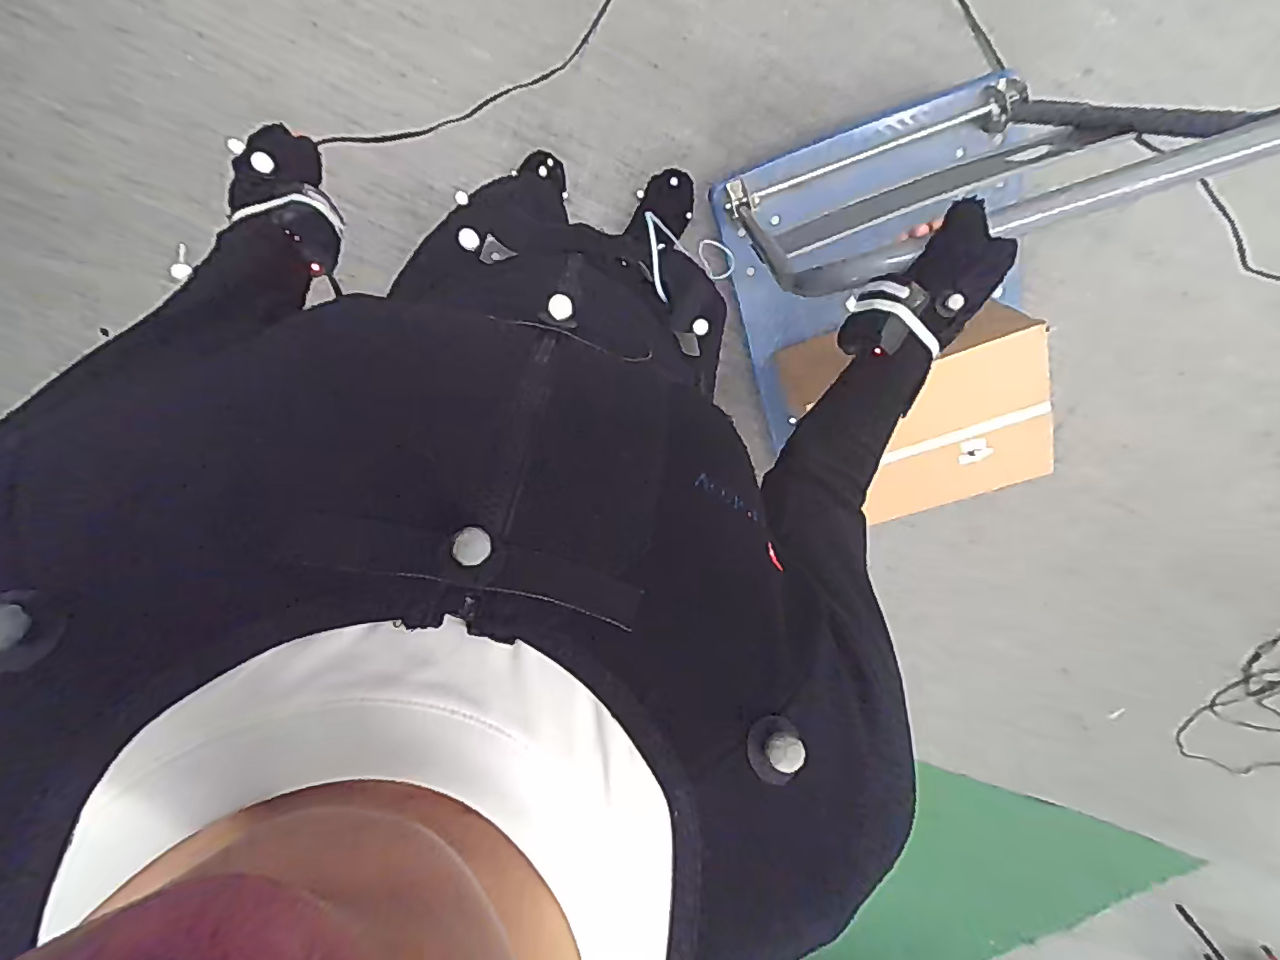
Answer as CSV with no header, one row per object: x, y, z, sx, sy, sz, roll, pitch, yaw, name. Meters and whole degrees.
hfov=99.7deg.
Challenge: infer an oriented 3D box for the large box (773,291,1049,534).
0.541,-0.147,1.134,0.408,0.320,0.320,-20,119,12,large box
